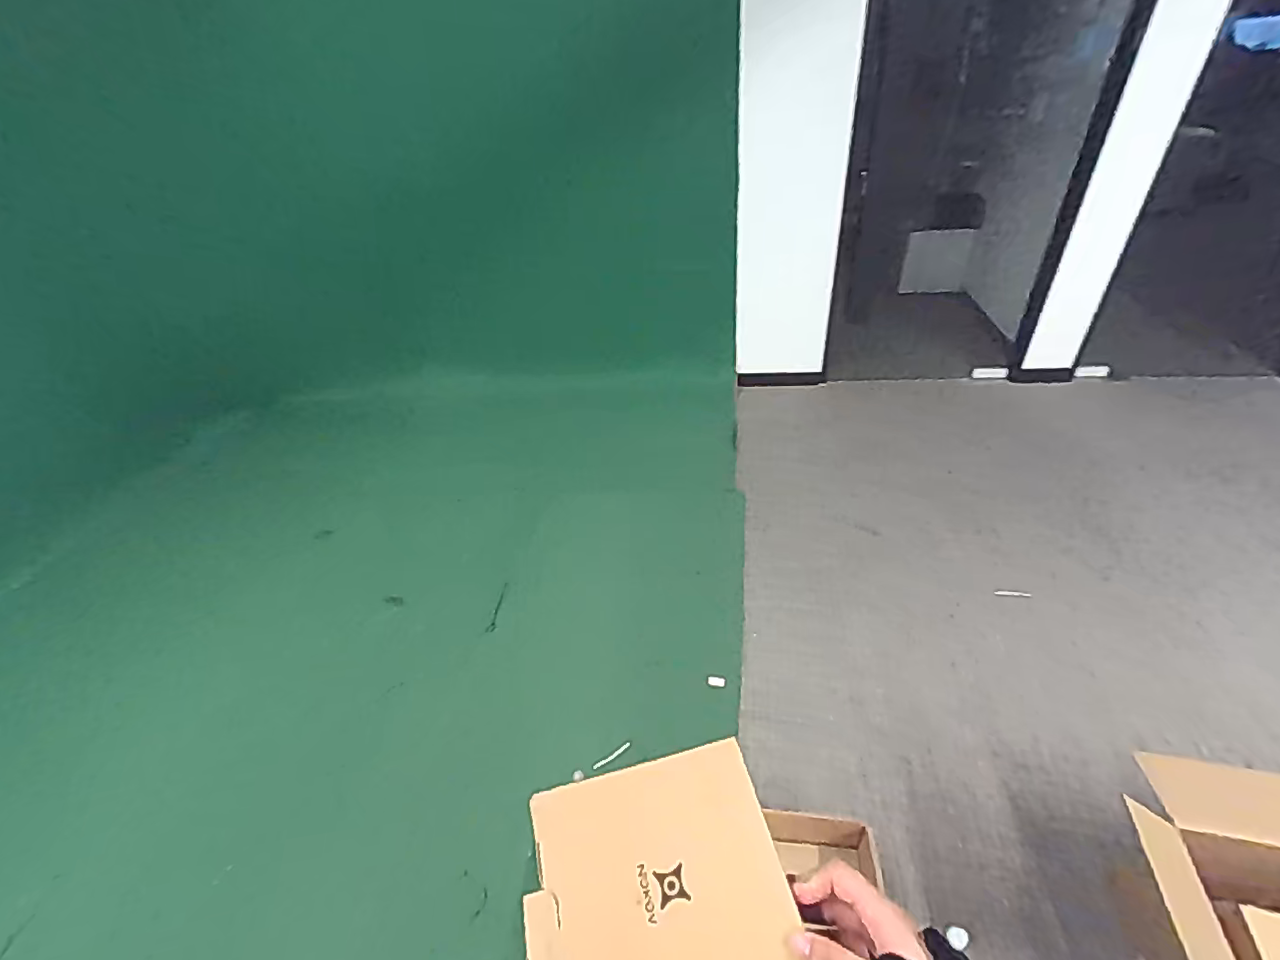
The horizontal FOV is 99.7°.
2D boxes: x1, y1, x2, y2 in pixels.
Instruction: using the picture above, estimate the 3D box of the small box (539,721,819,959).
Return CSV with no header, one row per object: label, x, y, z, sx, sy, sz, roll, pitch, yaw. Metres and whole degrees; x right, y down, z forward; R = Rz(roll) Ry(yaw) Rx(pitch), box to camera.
small box,0.020,0.334,0.466,0.179,0.176,0.168,-12,51,-10
